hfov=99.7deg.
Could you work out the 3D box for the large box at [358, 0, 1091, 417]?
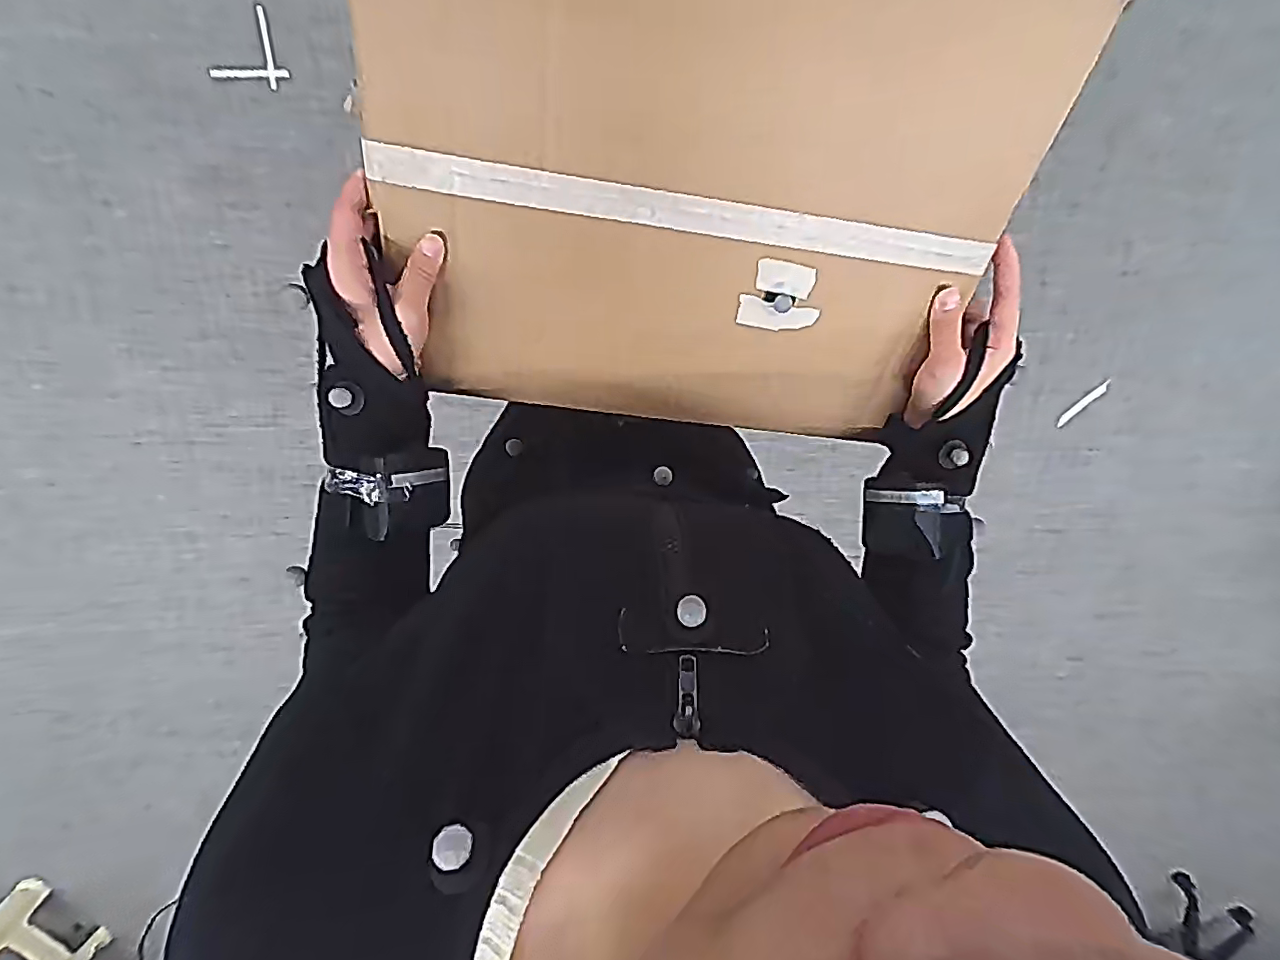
[{"bbox_3d":[0.029,-0.279,0.465,0.408,0.320,0.320,5,129,-8],"label":"large box"}]
